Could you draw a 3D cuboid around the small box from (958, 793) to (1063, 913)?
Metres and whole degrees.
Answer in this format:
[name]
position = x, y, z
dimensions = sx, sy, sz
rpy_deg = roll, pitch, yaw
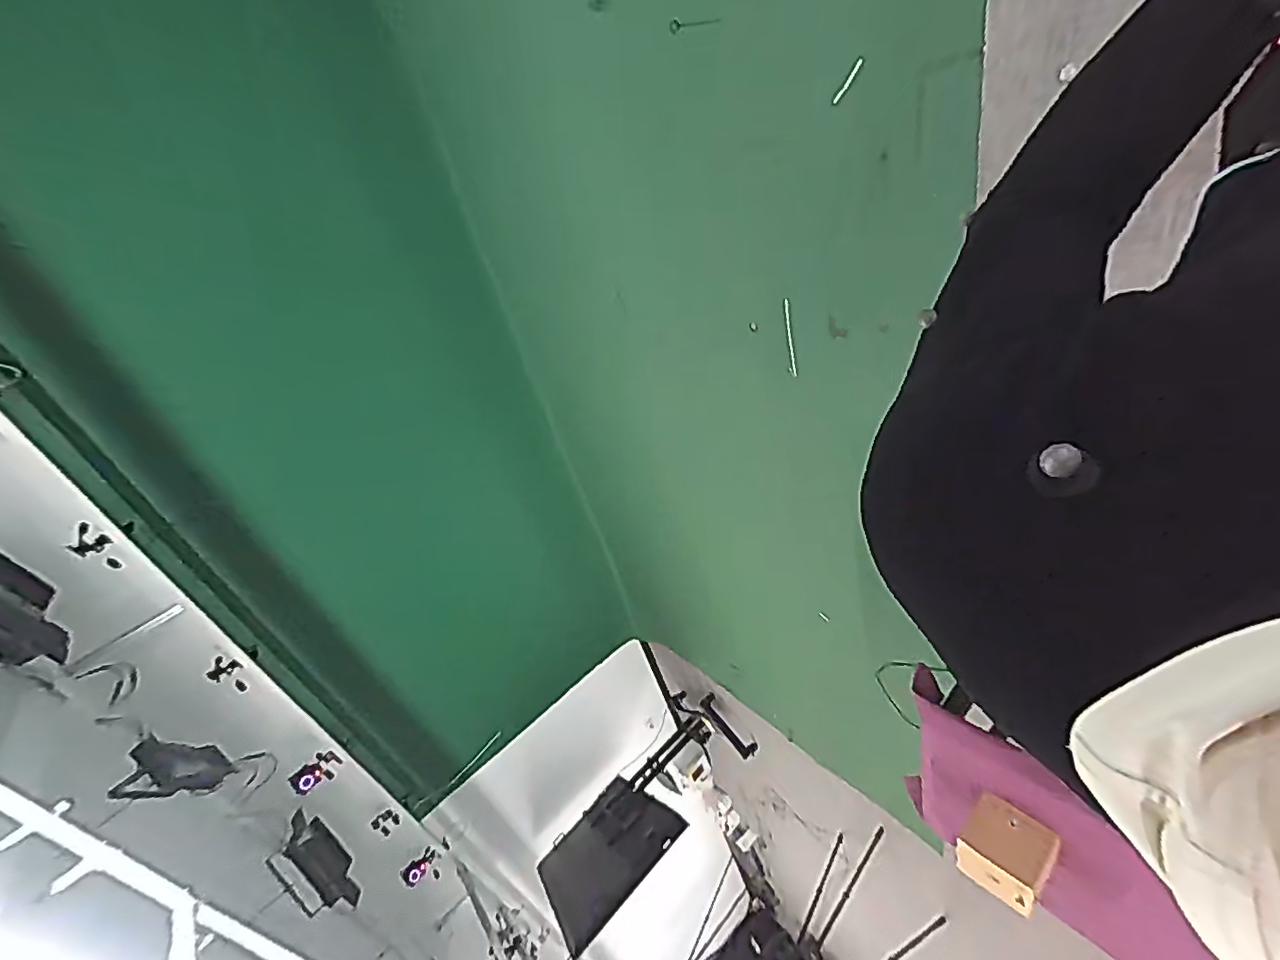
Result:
[small box]
position = 0.967, 0.963, 1.417
dimensions = 0.179, 0.176, 0.168
rpy_deg = 22, 140, 48
